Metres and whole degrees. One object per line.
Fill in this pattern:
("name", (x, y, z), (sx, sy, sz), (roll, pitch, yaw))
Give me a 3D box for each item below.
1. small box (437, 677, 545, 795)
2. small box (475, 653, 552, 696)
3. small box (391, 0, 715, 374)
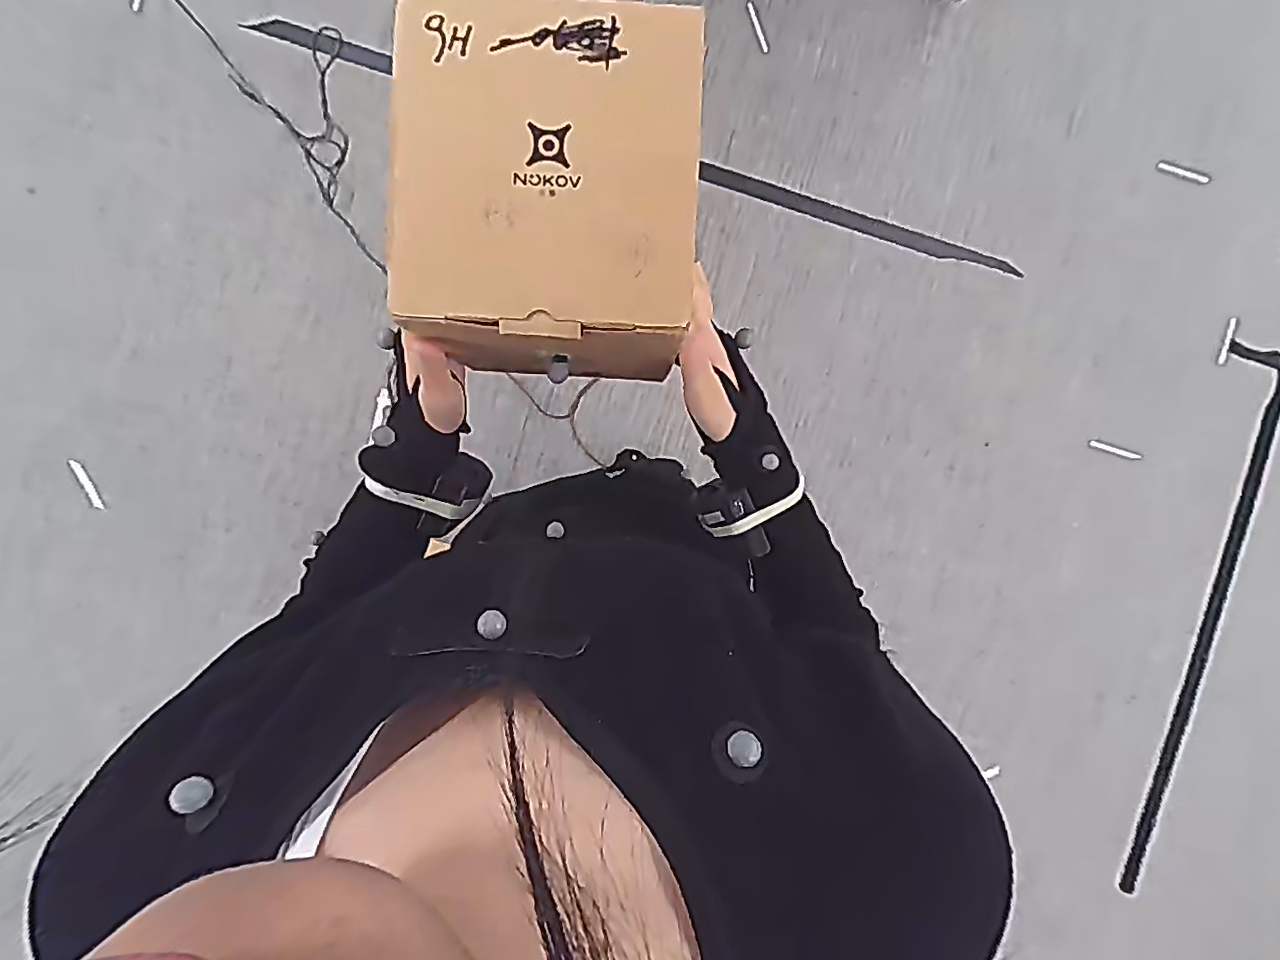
("small box", (-0.332, 0.575, 1.239), (0.179, 0.176, 0.168), (19, 91, -4))
("small box", (-0.341, 0.568, 1.404), (0.179, 0.176, 0.168), (18, 90, -4))
("small box", (-0.048, -0.171, 0.364), (0.168, 0.176, 0.179), (3, 92, -2))
